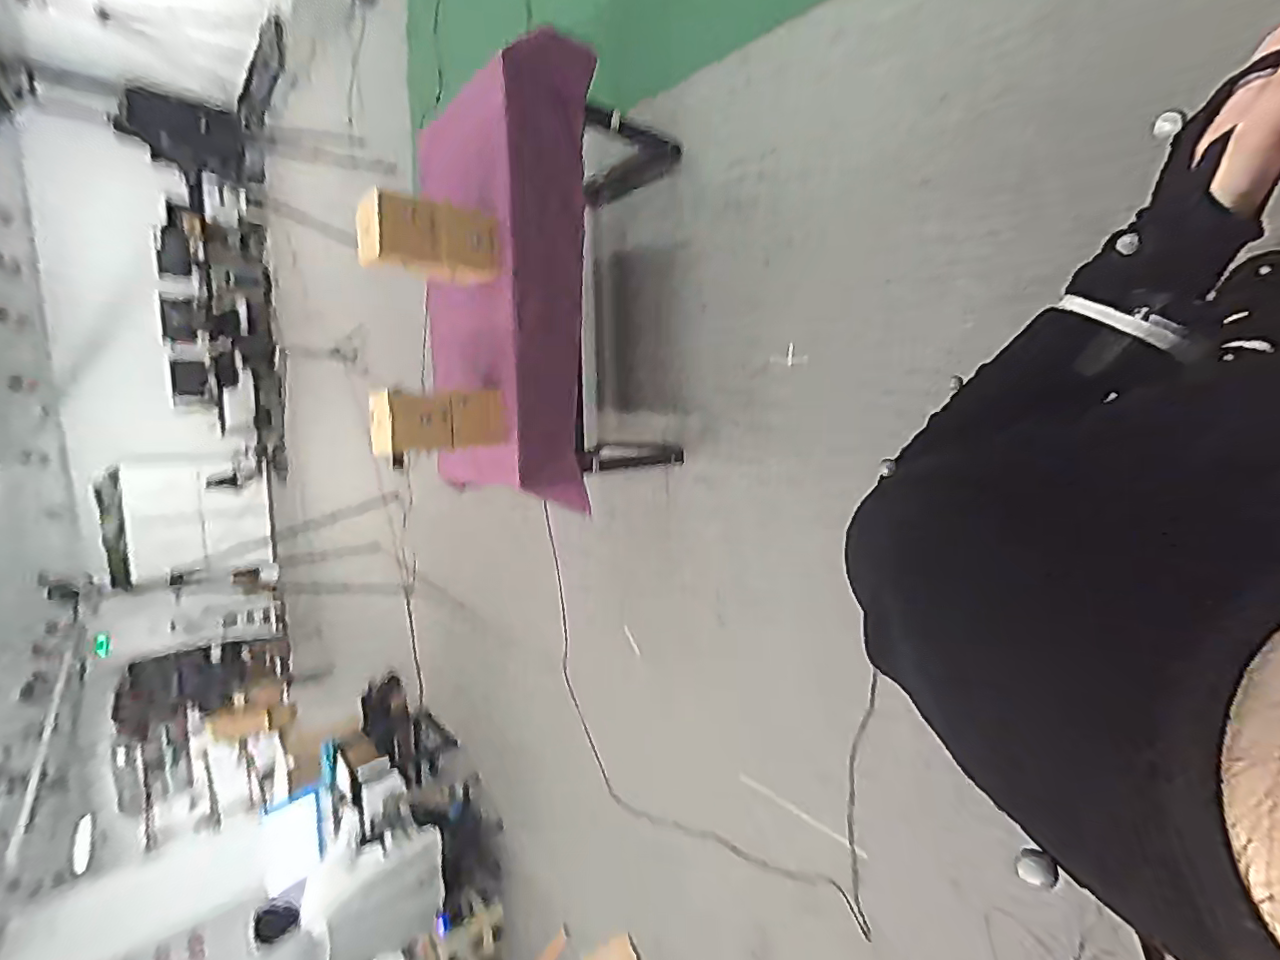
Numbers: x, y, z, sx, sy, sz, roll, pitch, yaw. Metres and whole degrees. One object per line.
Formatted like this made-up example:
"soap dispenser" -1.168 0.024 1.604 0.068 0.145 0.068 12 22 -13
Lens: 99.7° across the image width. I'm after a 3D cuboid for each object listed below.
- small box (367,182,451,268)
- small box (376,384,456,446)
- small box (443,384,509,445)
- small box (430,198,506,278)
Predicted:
"small box" -0.627 -0.686 1.474 0.179 0.176 0.168 13 104 47
"small box" -0.635 -0.183 1.541 0.179 0.176 0.168 5 97 48
"small box" -0.510 -0.199 1.647 0.168 0.176 0.179 5 97 48
"small box" -0.503 -0.698 1.579 0.179 0.176 0.168 10 101 48
